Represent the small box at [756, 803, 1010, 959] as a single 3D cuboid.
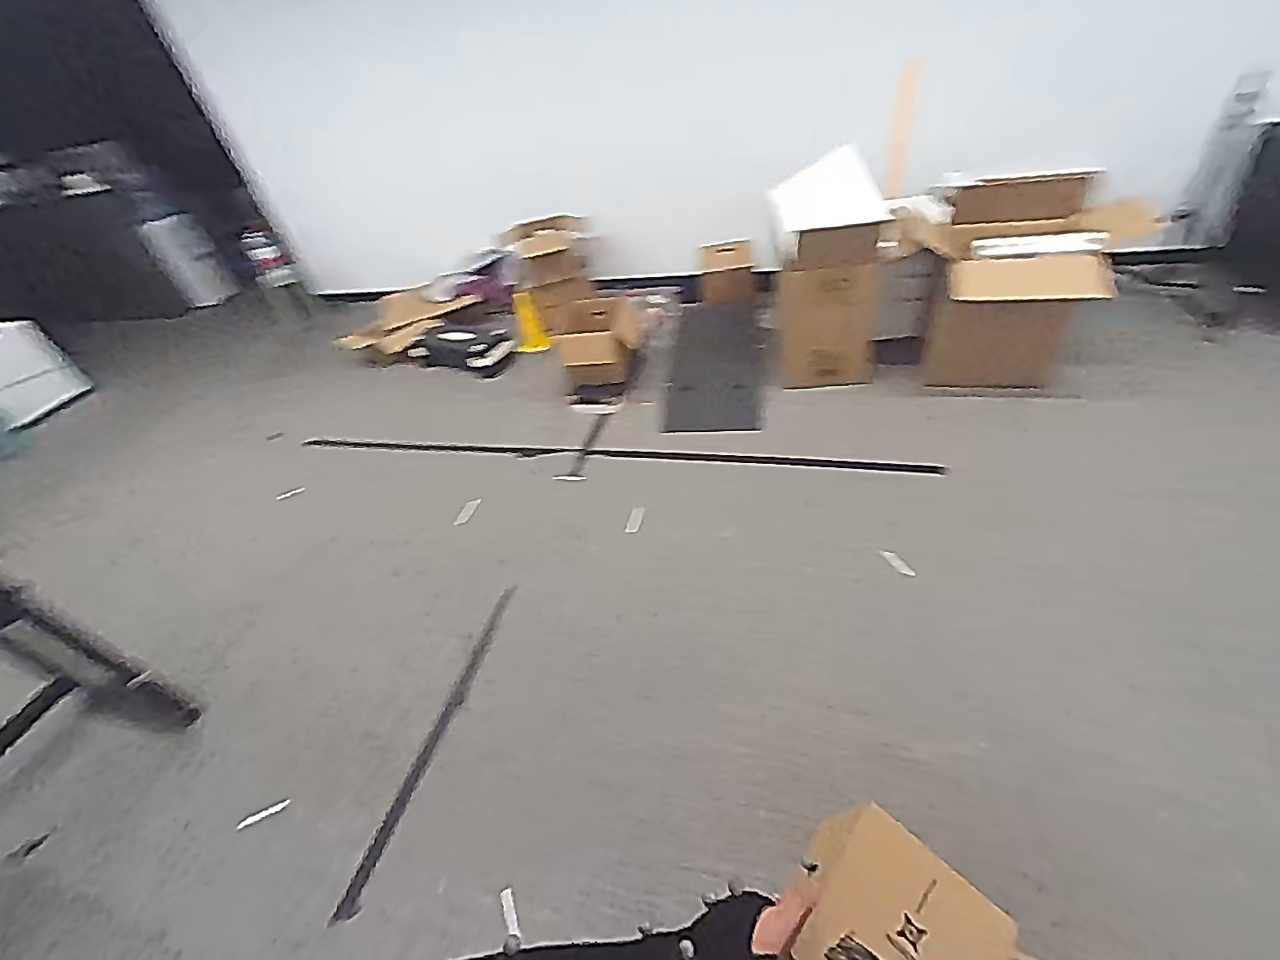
[{"bbox_3d":[0.242,0.495,0.579,0.168,0.176,0.179,36,55,22],"label":"small box"}]
